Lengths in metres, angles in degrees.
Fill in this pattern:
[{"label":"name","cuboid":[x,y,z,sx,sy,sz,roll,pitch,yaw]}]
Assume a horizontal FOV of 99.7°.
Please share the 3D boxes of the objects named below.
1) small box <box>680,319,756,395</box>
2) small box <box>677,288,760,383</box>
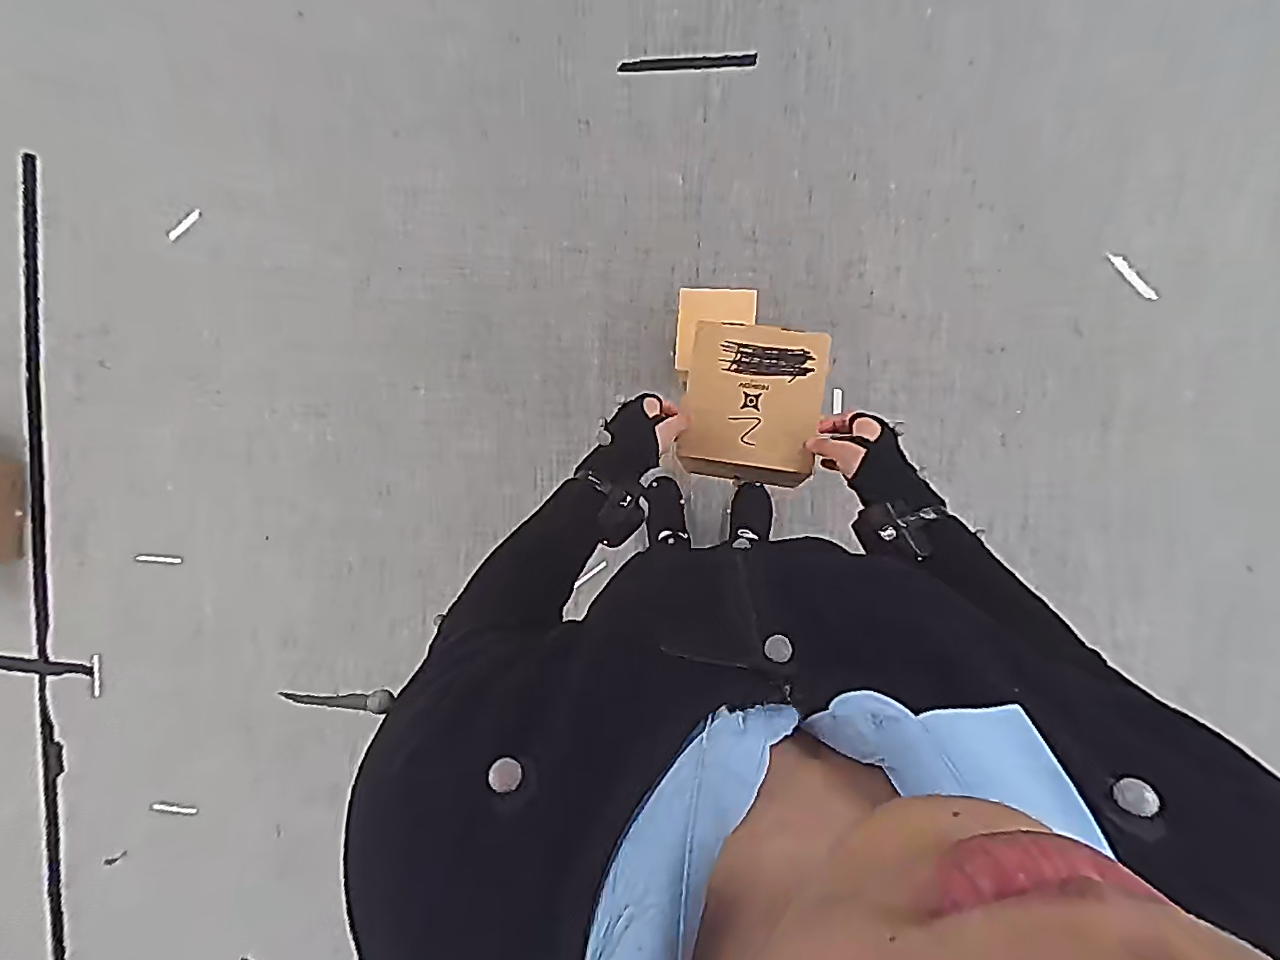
[{"label":"small box","cuboid":[0.195,-0.323,1.384,0.168,0.176,0.179,-9,92,7]},{"label":"small box","cuboid":[0.172,-0.320,1.222,0.168,0.176,0.179,3,94,6]}]
